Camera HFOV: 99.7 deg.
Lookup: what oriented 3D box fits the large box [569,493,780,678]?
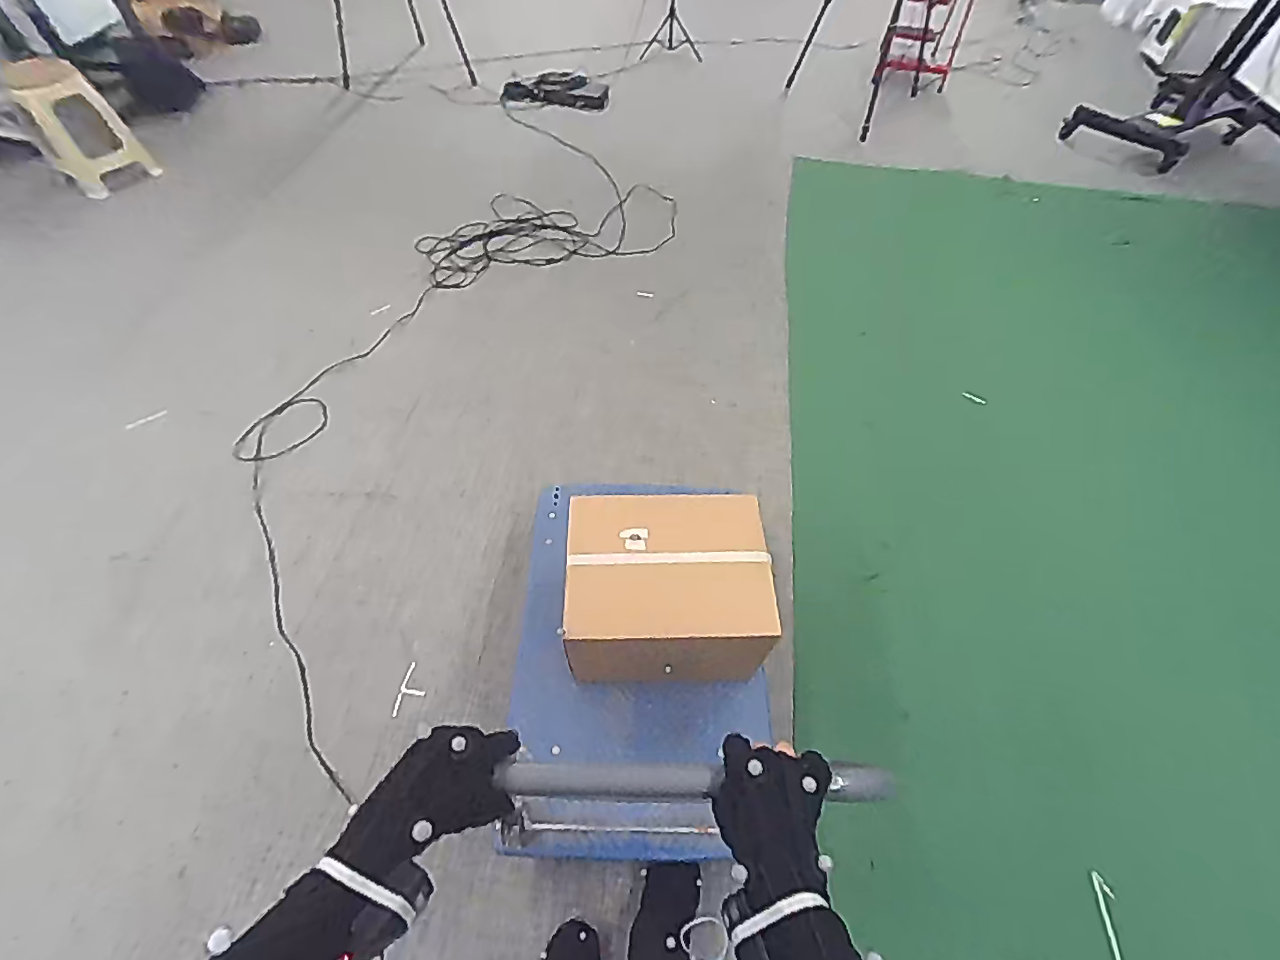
[{"bbox_3d":[0.061,0.245,1.216,0.408,0.320,0.320,-2,55,-1],"label":"large box"}]
